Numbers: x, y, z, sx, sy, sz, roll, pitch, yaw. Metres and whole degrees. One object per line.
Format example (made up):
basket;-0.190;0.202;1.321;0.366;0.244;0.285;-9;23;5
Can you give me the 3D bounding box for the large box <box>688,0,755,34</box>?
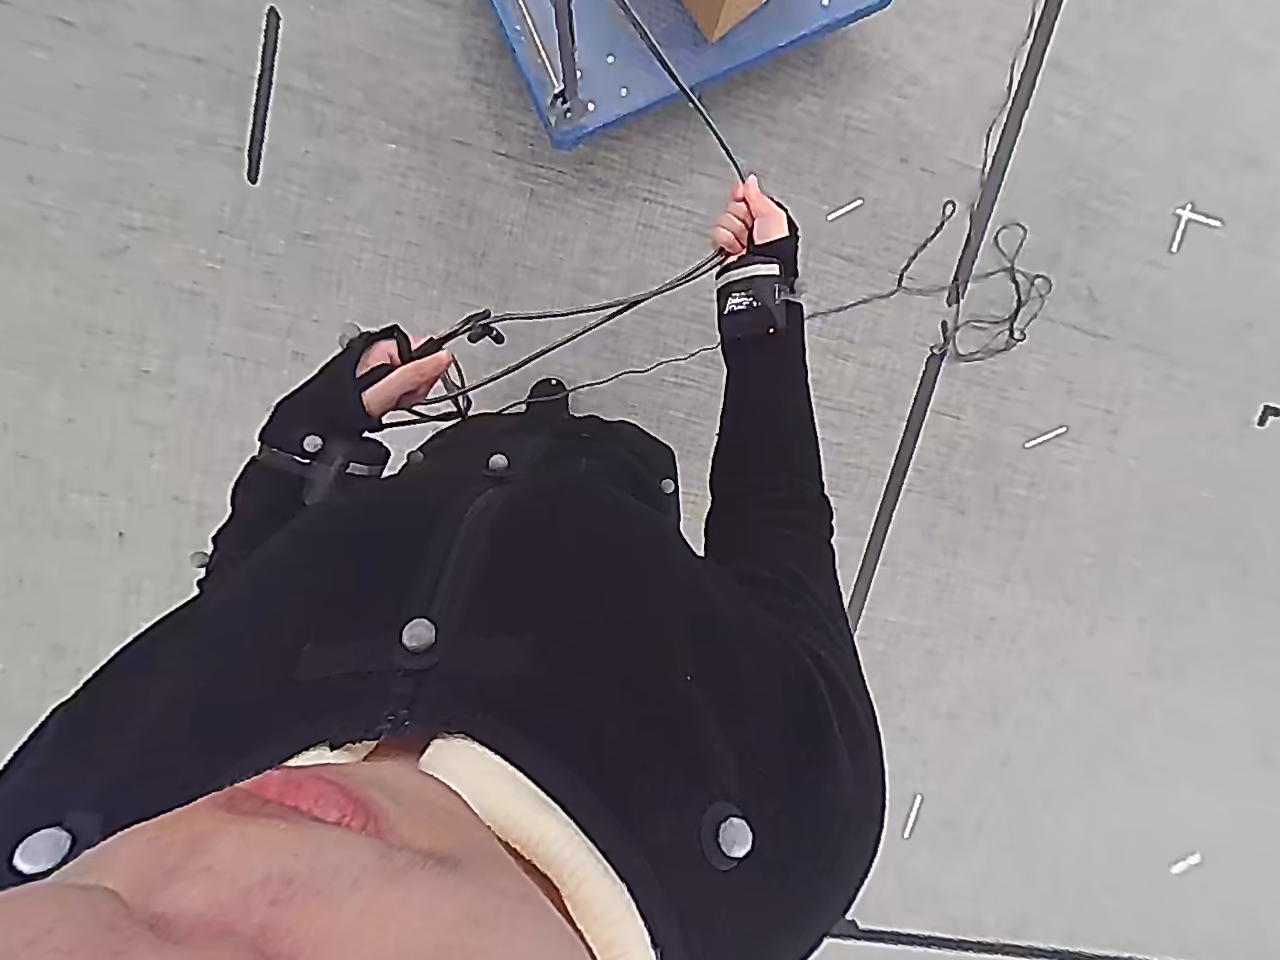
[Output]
large box;0.164;-1.189;0.998;0.320;0.320;0.408;-39;102;2
